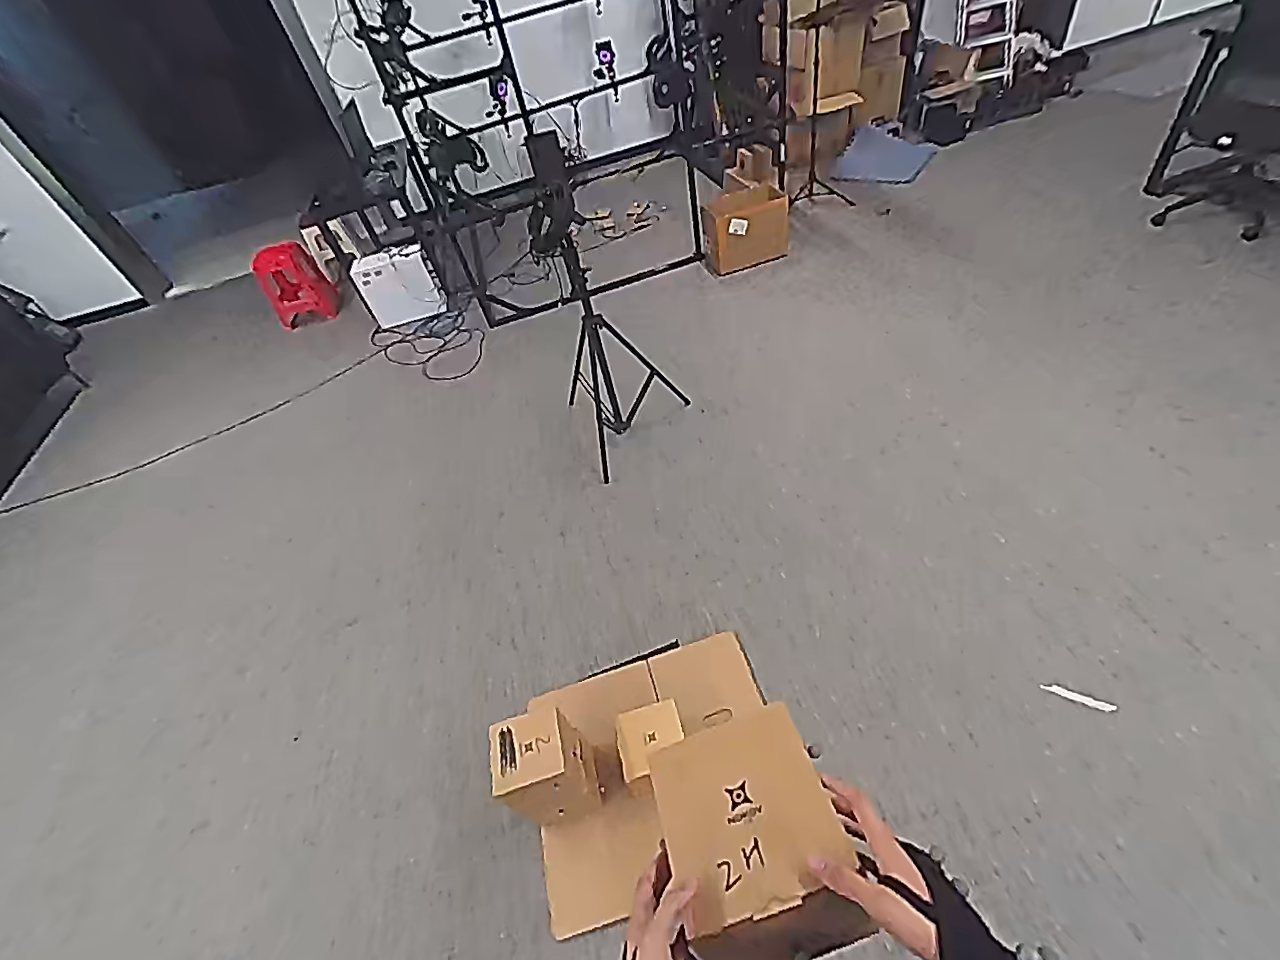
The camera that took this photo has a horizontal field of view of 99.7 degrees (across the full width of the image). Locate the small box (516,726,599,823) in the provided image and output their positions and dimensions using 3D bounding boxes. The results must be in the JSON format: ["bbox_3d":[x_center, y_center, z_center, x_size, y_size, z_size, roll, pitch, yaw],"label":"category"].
[{"bbox_3d":[-0.217,0.799,1.463,0.179,0.176,0.168,-19,46,-2],"label":"small box"}]

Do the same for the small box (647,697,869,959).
[{"bbox_3d":[0.123,0.378,0.582,0.168,0.176,0.179,-23,34,1],"label":"small box"}]

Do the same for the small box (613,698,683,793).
[{"bbox_3d":[0.038,0.725,1.472,0.179,0.176,0.168,-17,47,-2],"label":"small box"}]
